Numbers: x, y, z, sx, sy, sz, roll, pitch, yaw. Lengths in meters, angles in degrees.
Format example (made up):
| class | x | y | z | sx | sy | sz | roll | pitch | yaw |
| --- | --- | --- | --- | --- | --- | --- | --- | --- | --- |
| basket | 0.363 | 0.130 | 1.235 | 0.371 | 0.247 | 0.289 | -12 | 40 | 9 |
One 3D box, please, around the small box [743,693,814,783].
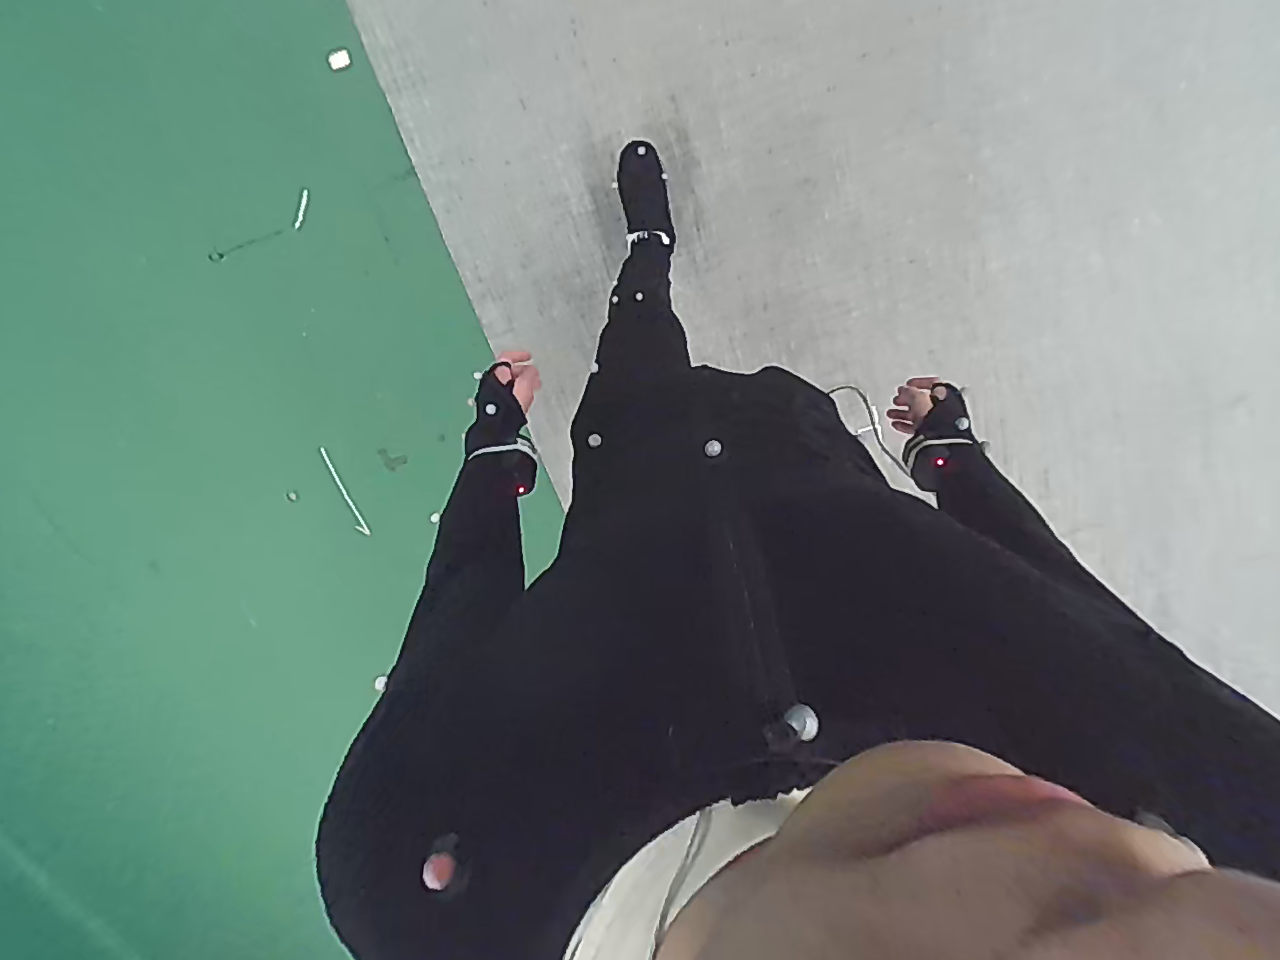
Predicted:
| class | x | y | z | sx | sy | sz | roll | pitch | yaw |
| --- | --- | --- | --- | --- | --- | --- | --- | --- | --- |
| small box | 0.428 | 0.799 | 1.682 | 0.168 | 0.176 | 0.179 | -16 | 108 | 9 |
